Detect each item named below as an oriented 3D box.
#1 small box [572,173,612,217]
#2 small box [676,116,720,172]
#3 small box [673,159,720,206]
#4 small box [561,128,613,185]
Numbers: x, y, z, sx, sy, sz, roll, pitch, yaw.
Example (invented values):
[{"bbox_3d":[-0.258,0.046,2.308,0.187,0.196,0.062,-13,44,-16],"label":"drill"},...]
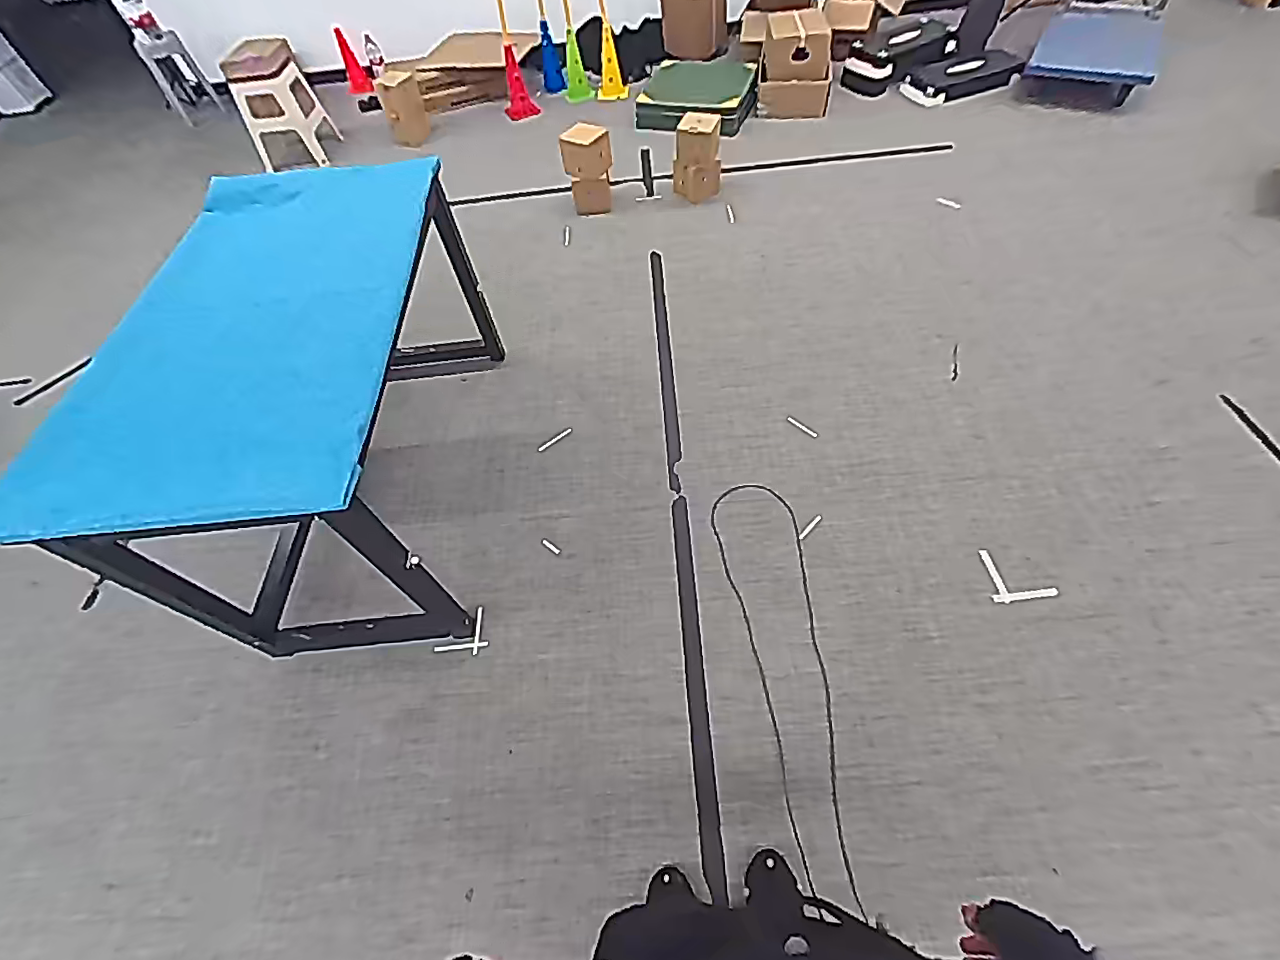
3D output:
[{"bbox_3d":[-0.238,-1.444,2.712,0.179,0.176,0.168,-4,55,4],"label":"small box"},{"bbox_3d":[0.278,-1.594,2.568,0.168,0.176,0.179,16,58,13],"label":"small box"},{"bbox_3d":[0.284,-1.510,2.709,0.179,0.176,0.168,-31,60,-15],"label":"small box"},{"bbox_3d":[-0.252,-1.550,2.581,0.179,0.176,0.168,26,61,22],"label":"small box"}]
